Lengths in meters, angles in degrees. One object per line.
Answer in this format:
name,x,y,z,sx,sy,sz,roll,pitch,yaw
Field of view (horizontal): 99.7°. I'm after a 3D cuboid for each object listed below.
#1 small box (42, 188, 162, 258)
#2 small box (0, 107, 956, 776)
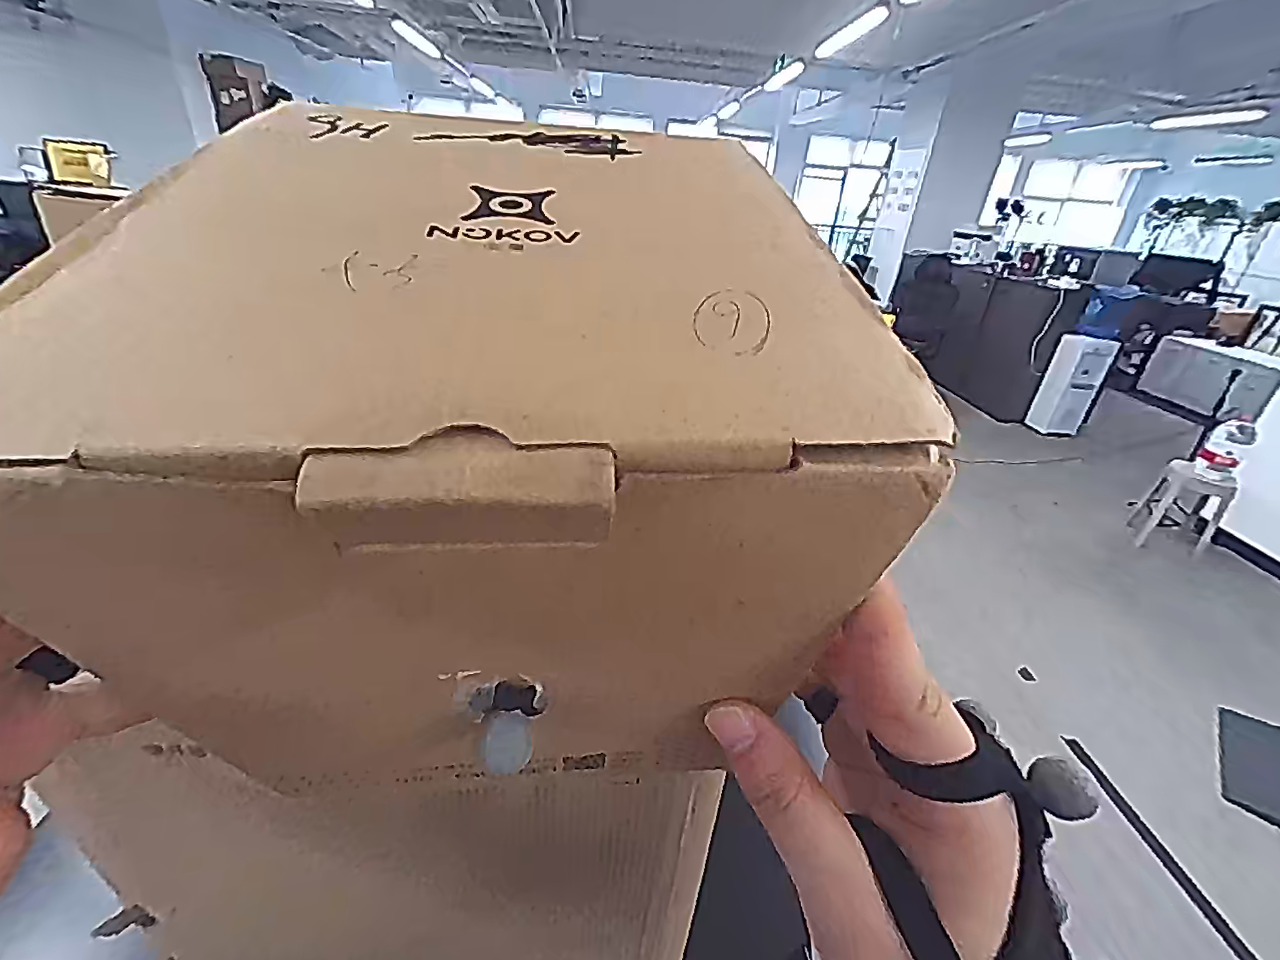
small box,-0.332,-0.151,0.477,0.179,0.176,0.168,4,27,-5
small box,-0.039,-0.008,0.195,0.168,0.176,0.179,-1,48,-8
